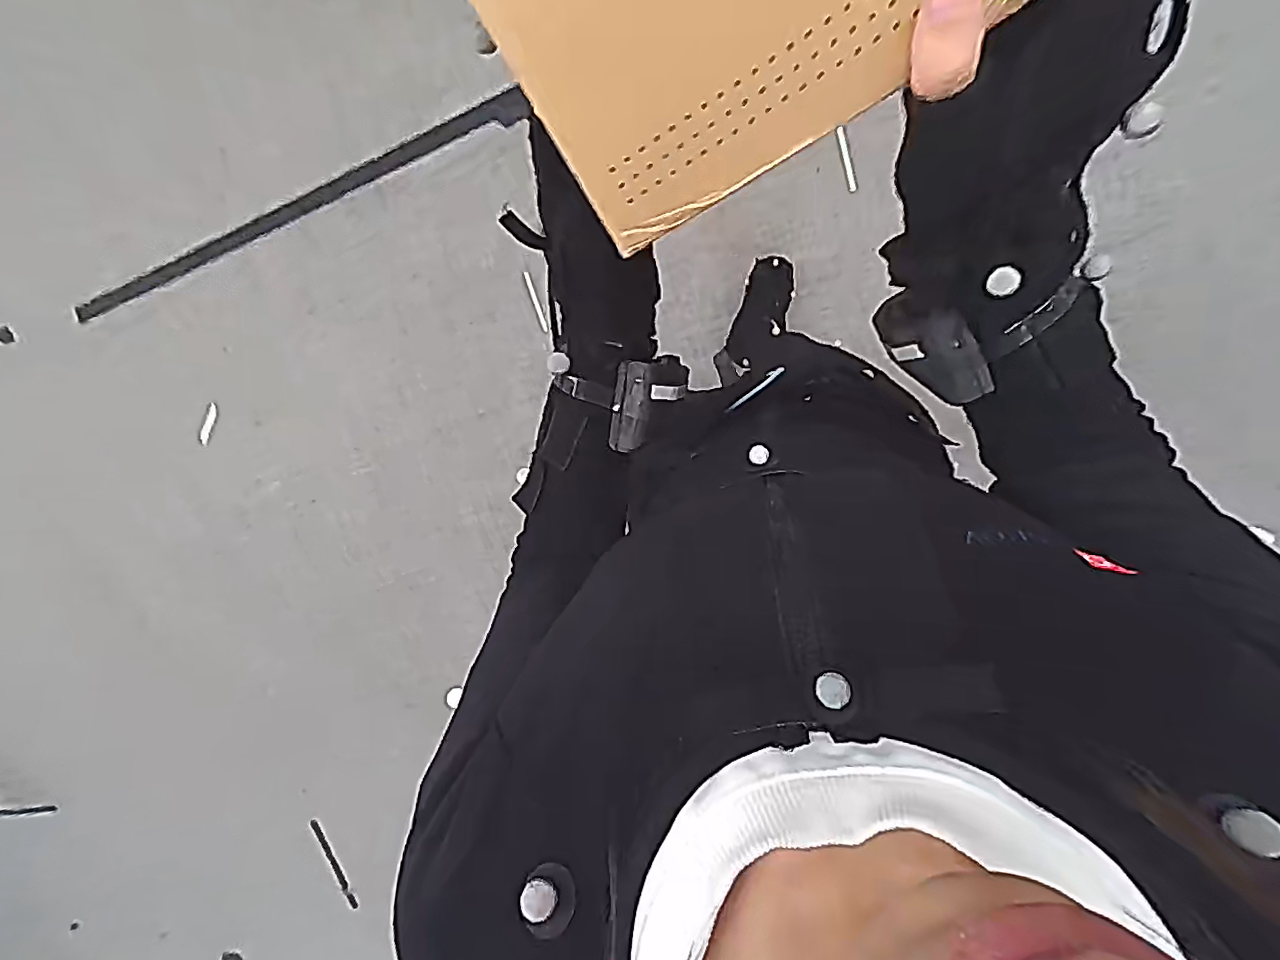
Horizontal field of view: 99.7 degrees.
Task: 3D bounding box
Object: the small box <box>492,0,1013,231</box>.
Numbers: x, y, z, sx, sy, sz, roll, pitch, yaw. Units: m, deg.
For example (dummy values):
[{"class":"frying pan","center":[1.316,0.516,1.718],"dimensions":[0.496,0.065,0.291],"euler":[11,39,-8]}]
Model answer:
[{"class":"small box","center":[0.028,-0.239,0.223],"dimensions":[0.179,0.168,0.176],"euler":[-22,130,21]}]
